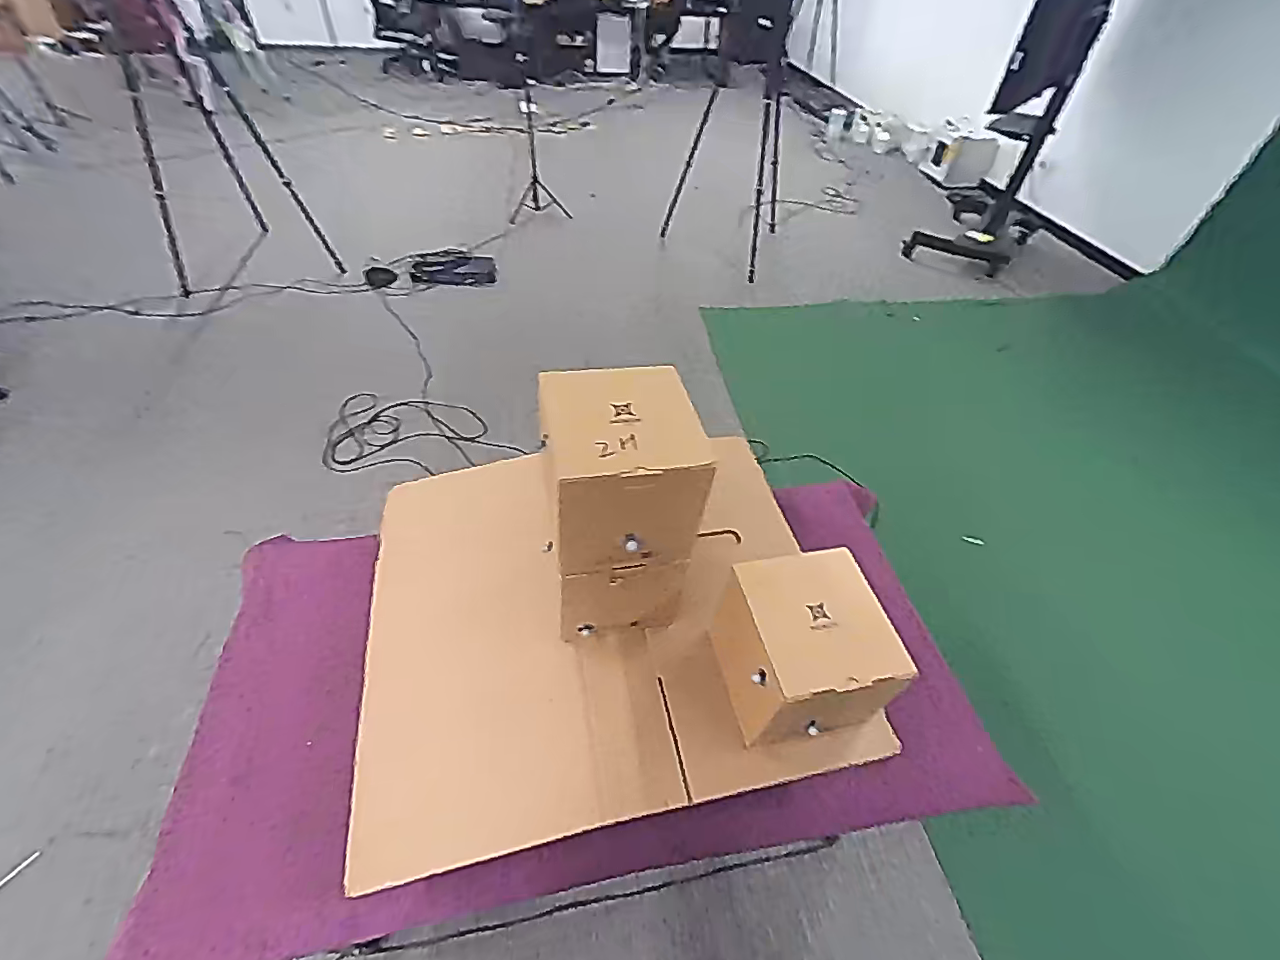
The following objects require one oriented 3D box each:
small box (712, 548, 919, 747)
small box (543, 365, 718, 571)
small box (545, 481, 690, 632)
[{"bbox_3d":[0.204,0.212,0.690,0.168,0.176,0.179,-6,49,-12],"label":"small box"},{"bbox_3d":[-0.026,-0.016,0.644,0.168,0.176,0.179,-6,49,-13],"label":"small box"},{"bbox_3d":[-0.041,0.098,0.762,0.168,0.176,0.179,-6,48,-13],"label":"small box"}]
